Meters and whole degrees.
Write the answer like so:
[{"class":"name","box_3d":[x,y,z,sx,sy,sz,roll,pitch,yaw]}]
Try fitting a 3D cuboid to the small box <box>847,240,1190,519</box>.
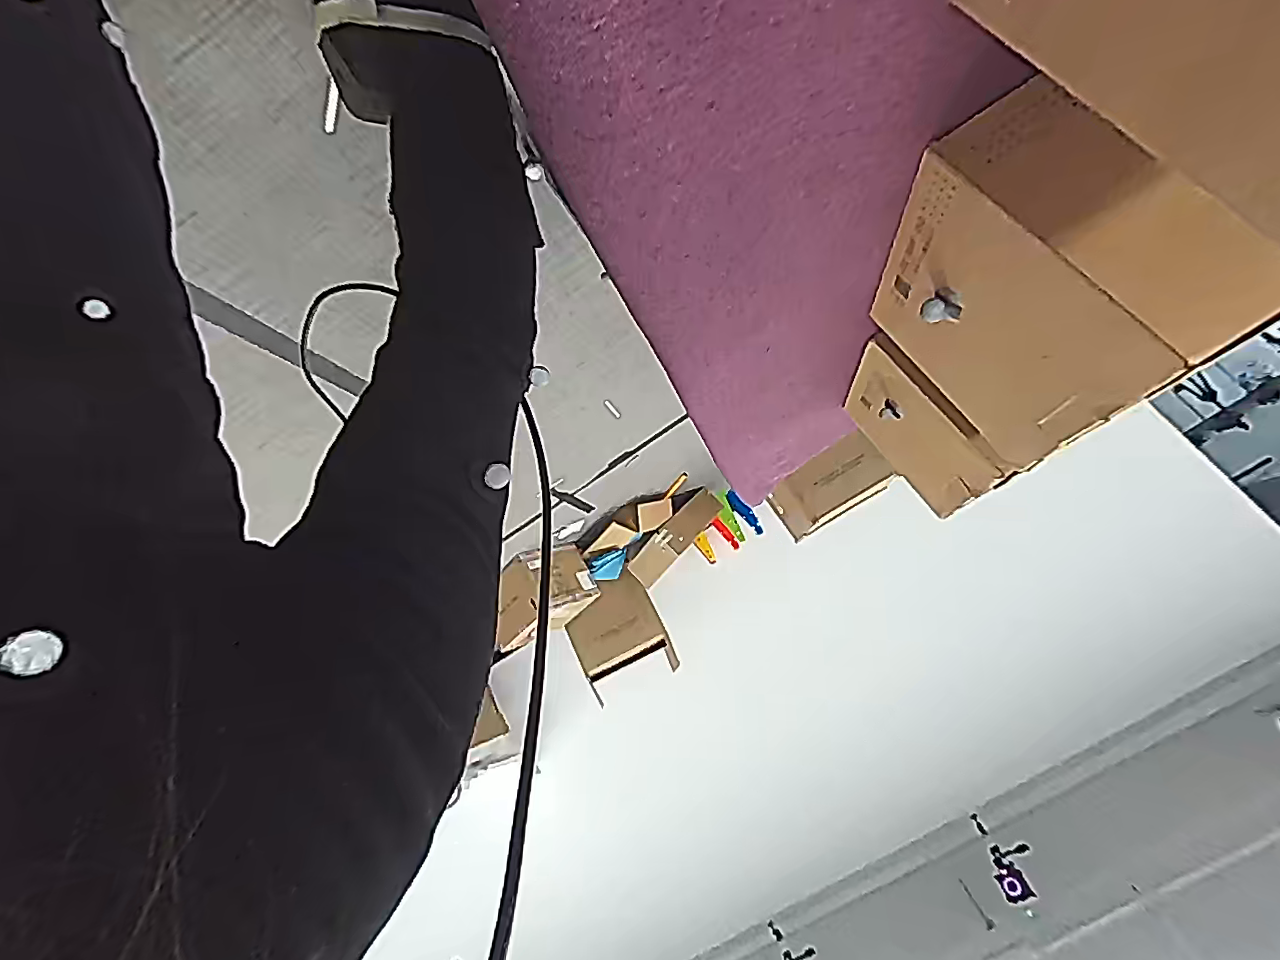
[{"class":"small box","box_3d":[0.337,-0.090,0.528,0.179,0.176,0.168,-33,160,2]}]
